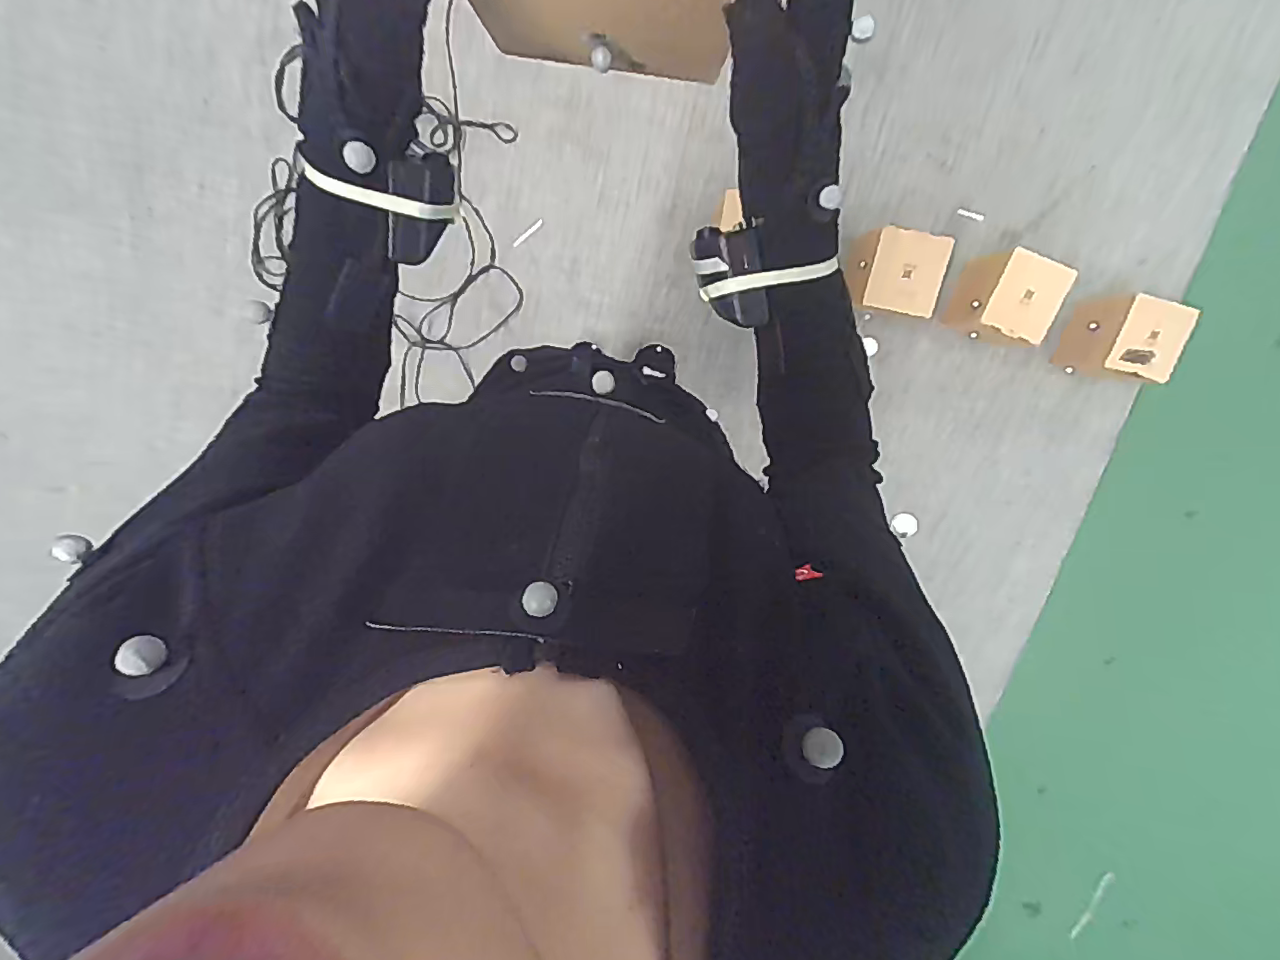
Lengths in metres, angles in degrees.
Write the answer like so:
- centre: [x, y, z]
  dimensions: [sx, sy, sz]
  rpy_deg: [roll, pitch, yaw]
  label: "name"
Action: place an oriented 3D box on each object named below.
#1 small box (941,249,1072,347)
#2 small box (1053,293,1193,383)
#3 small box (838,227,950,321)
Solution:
- centre: [0.878, -0.437, 1.316]
  dimensions: [0.168, 0.176, 0.179]
  rpy_deg: [18, 104, -6]
  label: "small box"
- centre: [1.184, -0.351, 1.345]
  dimensions: [0.168, 0.176, 0.179]
  rpy_deg: [14, 103, -5]
  label: "small box"
- centre: [0.597, -0.486, 1.296]
  dimensions: [0.168, 0.176, 0.179]
  rpy_deg: [10, 106, -2]
  label: "small box"
